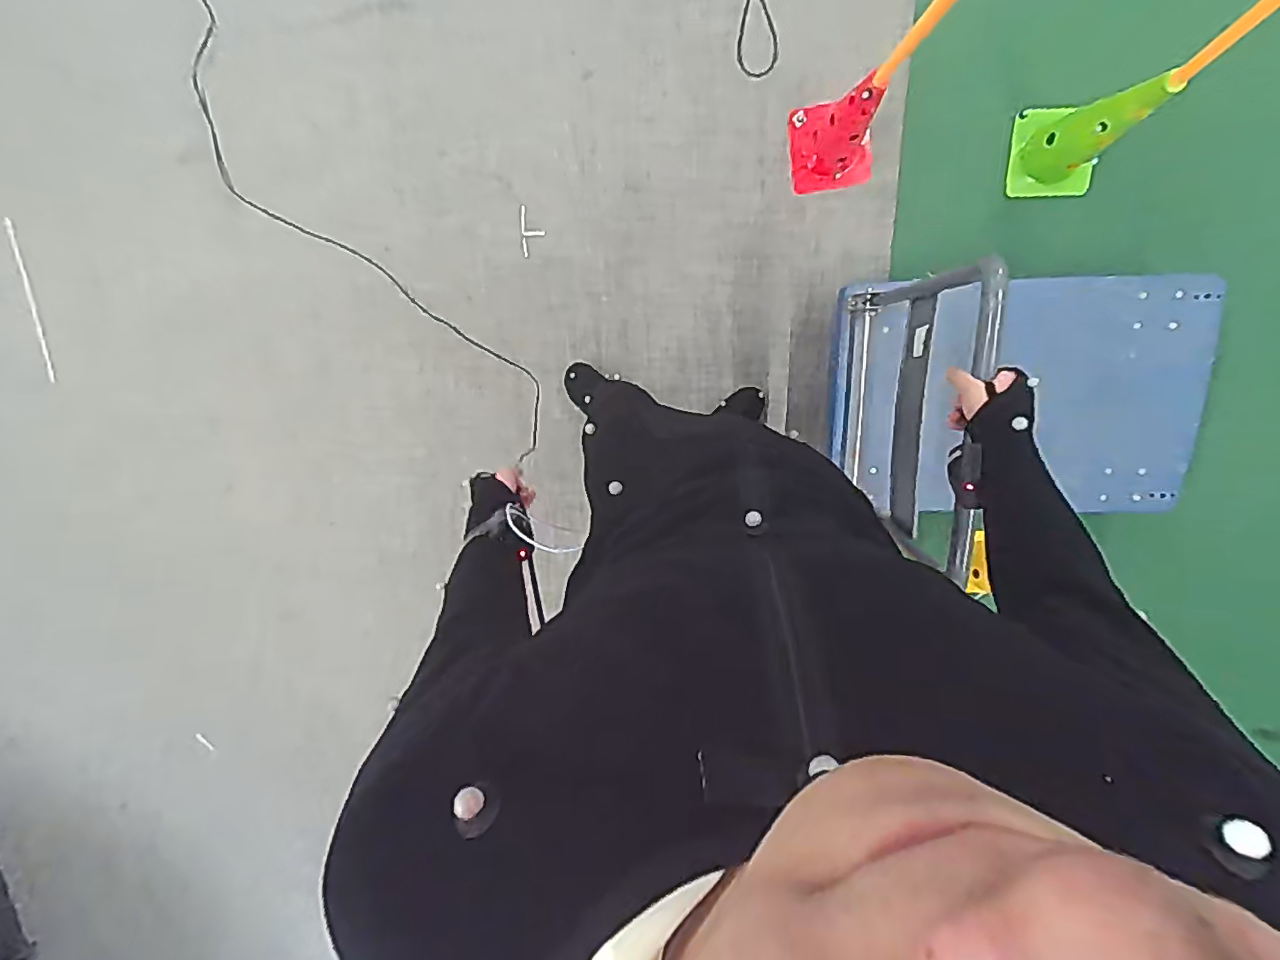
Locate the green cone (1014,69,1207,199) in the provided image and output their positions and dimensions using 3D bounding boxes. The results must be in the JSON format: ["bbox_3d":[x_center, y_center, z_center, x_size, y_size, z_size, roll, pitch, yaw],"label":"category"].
[{"bbox_3d":[1.025,-0.765,1.166,0.202,0.368,0.200,1,102,3],"label":"green cone"}]
